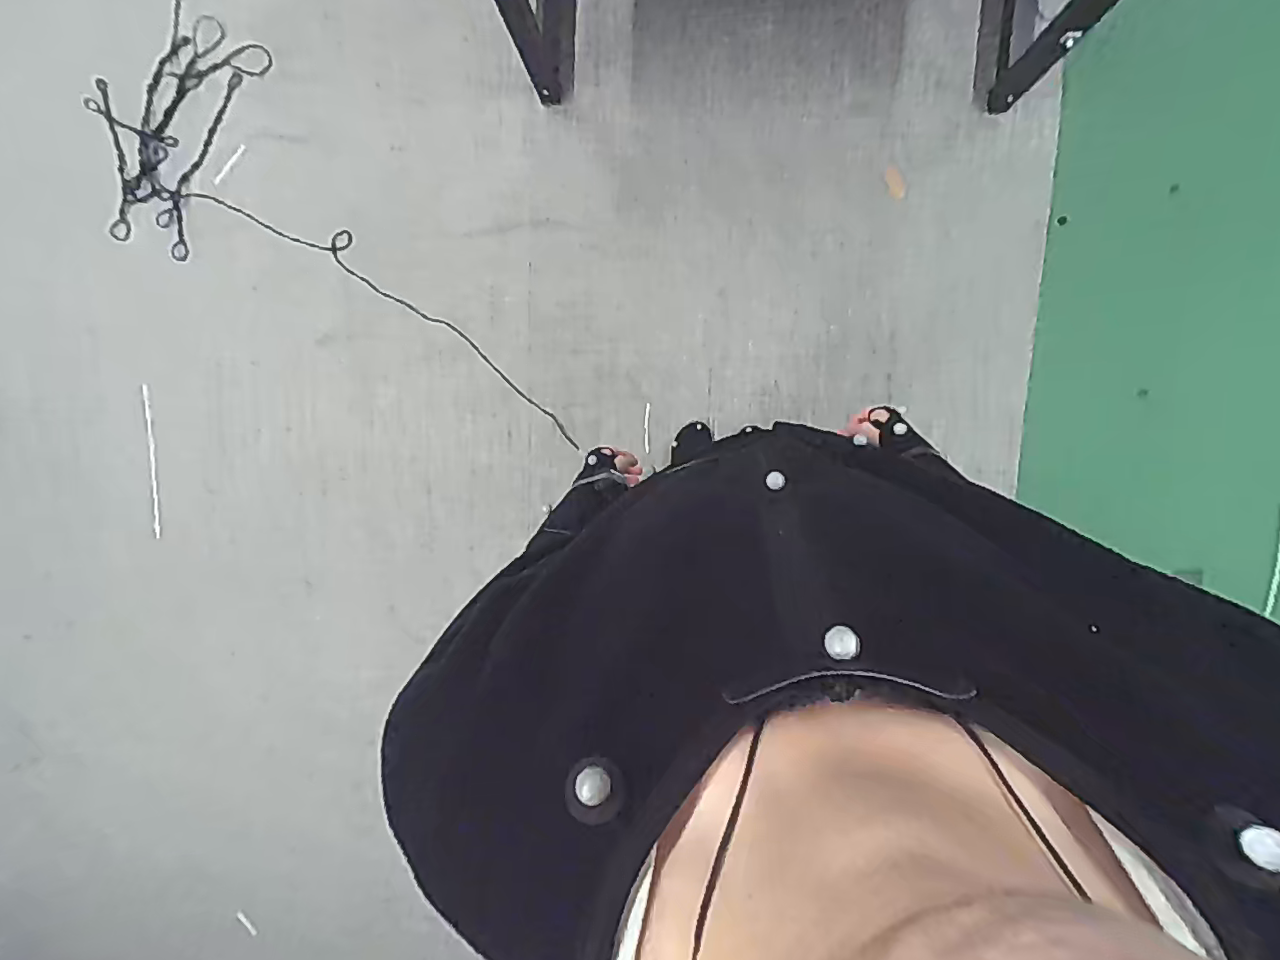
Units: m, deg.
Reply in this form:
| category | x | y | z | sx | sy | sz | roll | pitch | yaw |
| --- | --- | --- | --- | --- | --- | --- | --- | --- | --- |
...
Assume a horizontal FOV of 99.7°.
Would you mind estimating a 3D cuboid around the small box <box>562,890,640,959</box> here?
| category | x | y | z | sx | sy | sz | roll | pitch | yaw |
| --- | --- | --- | --- | --- | --- | --- | --- | --- | --- |
| small box | -0.108 | 1.304 | 1.564 | 0.179 | 0.176 | 0.168 | 18 | 97 | 5 |

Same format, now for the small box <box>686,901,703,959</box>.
| category | x | y | z | sx | sy | sz | roll | pitch | yaw |
| --- | --- | --- | --- | --- | --- | --- | --- | --- | --- |
| small box | 0.230 | 1.344 | 1.540 | 0.179 | 0.176 | 0.168 | 9 | 97 | 4 |

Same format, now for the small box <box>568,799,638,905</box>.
| category | x | y | z | sx | sy | sz | roll | pitch | yaw |
| --- | --- | --- | --- | --- | --- | --- | --- | --- | --- |
| small box | -0.100 | 1.049 | 1.540 | 0.168 | 0.176 | 0.179 | 6 | 97 | 5 |
